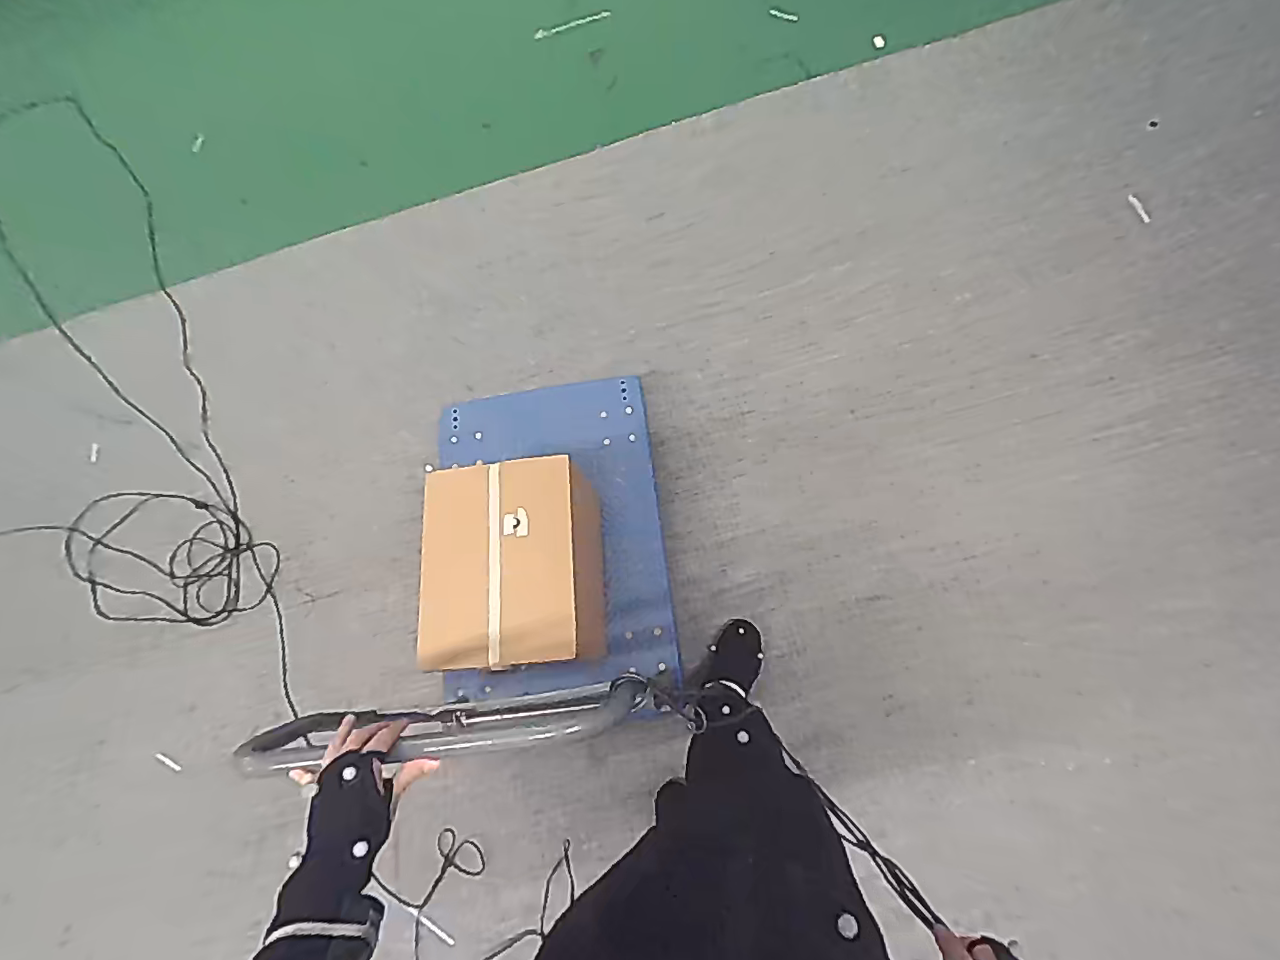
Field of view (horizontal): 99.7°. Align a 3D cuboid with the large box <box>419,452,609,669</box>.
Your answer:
[{"bbox_3d":[-0.259,0.192,1.197,0.320,0.320,0.408,-6,72,5],"label":"large box"}]
